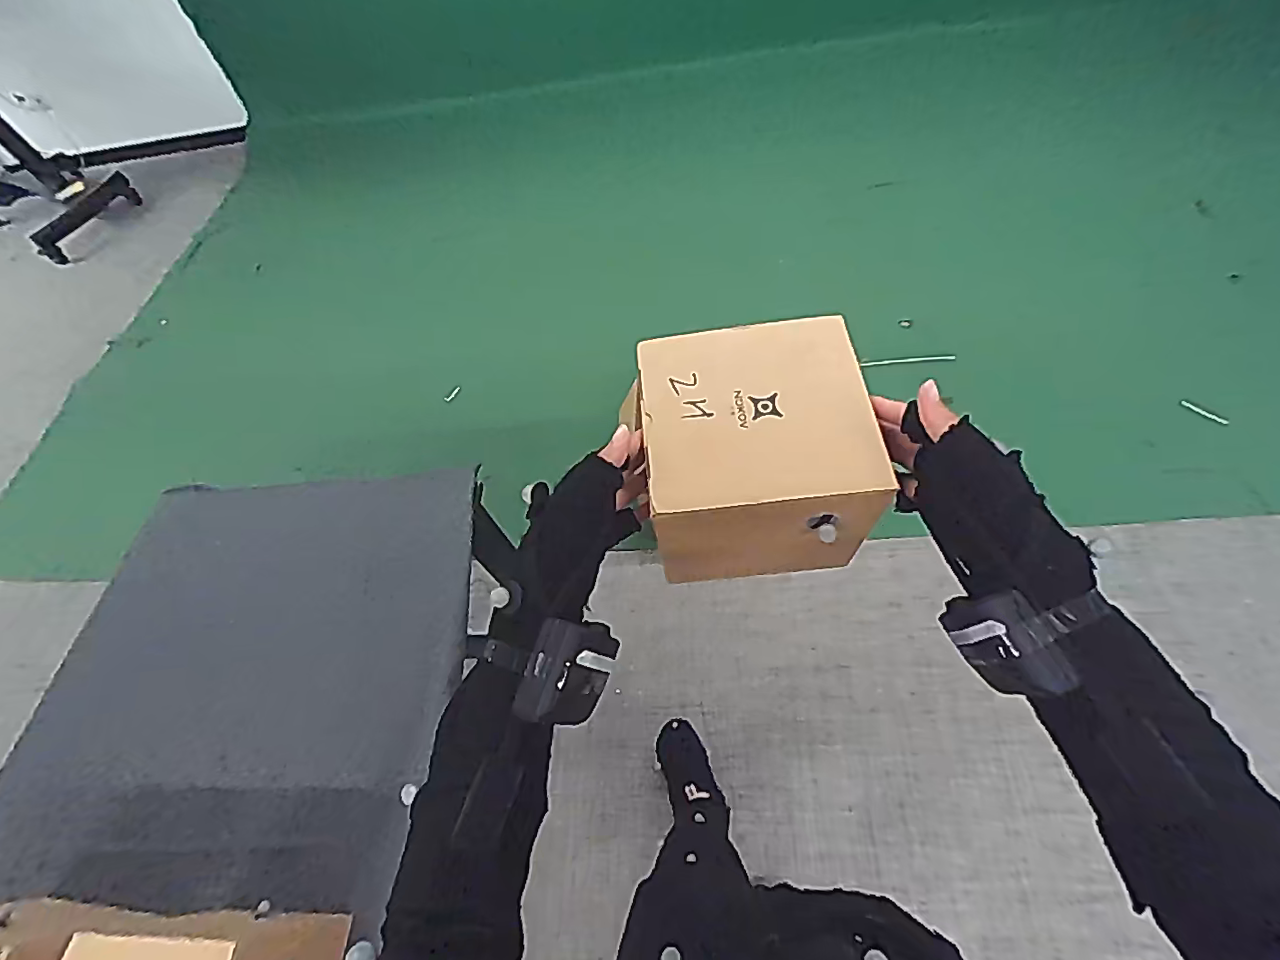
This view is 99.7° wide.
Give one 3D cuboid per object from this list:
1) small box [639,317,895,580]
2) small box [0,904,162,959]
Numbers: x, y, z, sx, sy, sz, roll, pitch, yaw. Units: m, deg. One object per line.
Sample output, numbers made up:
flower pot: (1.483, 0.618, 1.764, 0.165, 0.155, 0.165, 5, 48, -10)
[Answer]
small box: (0.098, -0.018, 0.490, 0.179, 0.176, 0.168, -7, 61, 5)
small box: (-0.636, 0.529, 0.521, 0.179, 0.176, 0.168, 0, 57, 10)
